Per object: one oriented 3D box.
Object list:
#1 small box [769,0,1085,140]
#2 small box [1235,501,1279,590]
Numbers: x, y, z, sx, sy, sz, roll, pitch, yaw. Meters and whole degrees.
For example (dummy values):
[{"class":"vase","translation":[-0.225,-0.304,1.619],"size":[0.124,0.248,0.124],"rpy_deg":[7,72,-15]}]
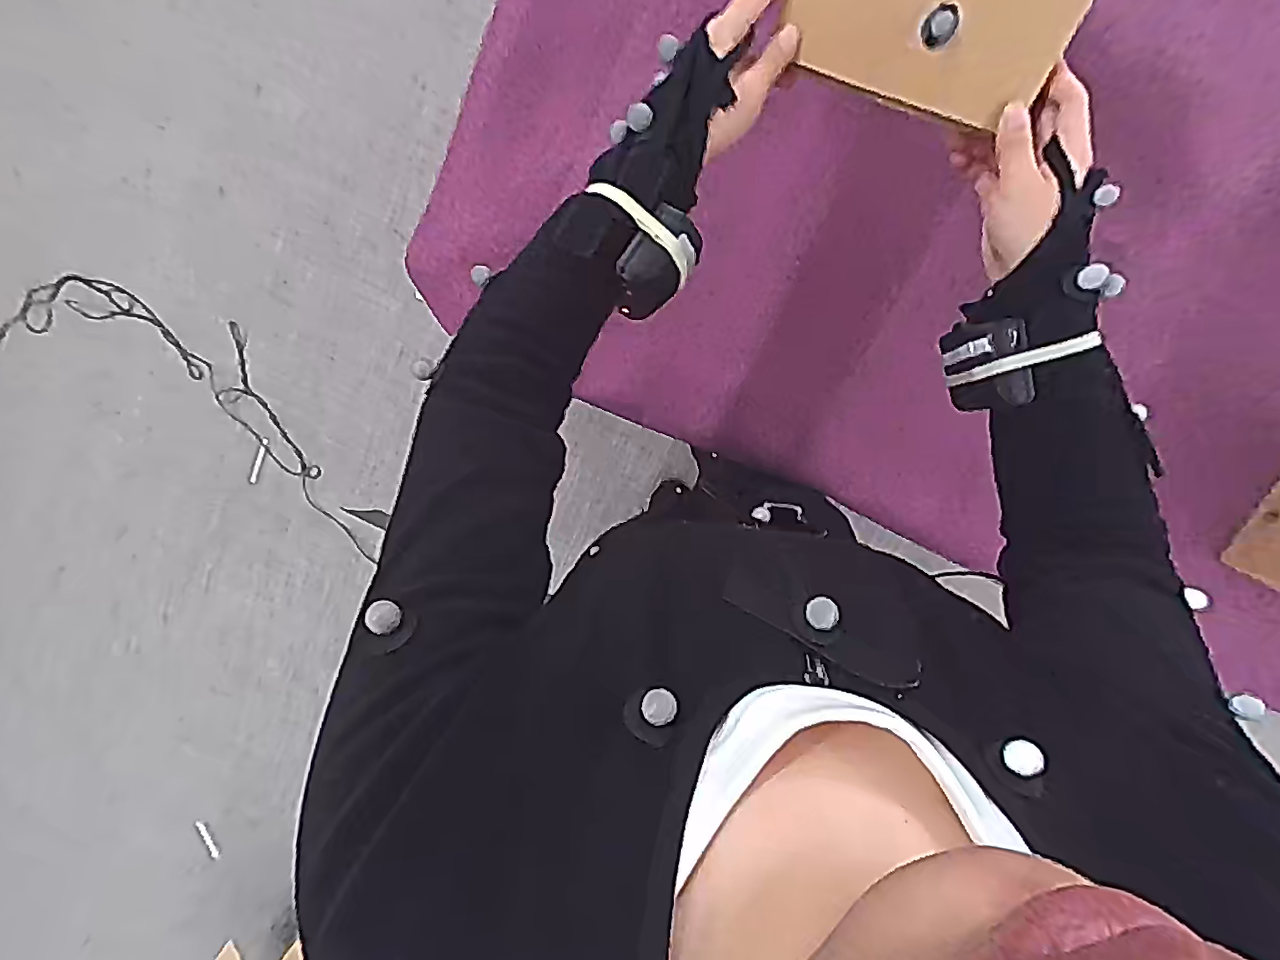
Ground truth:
[{"class":"small box","translation":[0.204,-0.362,0.373],"size":[0.179,0.168,0.176],"rpy_deg":[19,126,-1]},{"class":"small box","translation":[0.736,0.069,0.491],"size":[0.179,0.176,0.168],"rpy_deg":[27,101,1]}]
